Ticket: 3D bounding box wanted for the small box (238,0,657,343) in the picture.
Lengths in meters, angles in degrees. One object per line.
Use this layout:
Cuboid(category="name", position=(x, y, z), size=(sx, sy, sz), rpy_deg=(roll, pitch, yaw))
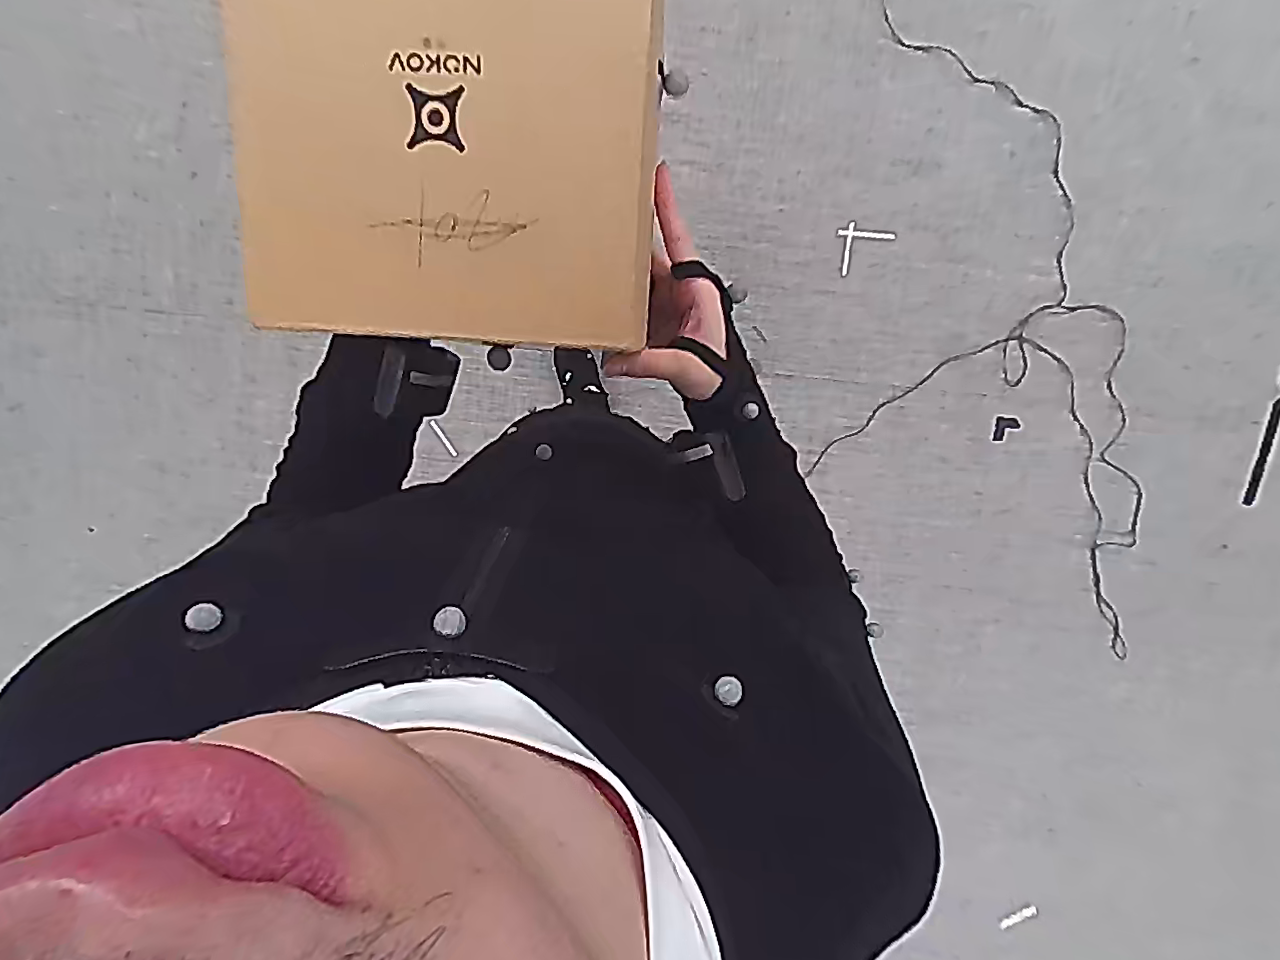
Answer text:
Cuboid(category="small box", position=(-0.077, -0.171, 0.300), size=(0.168, 0.176, 0.179), rpy_deg=(4, 104, 2))
